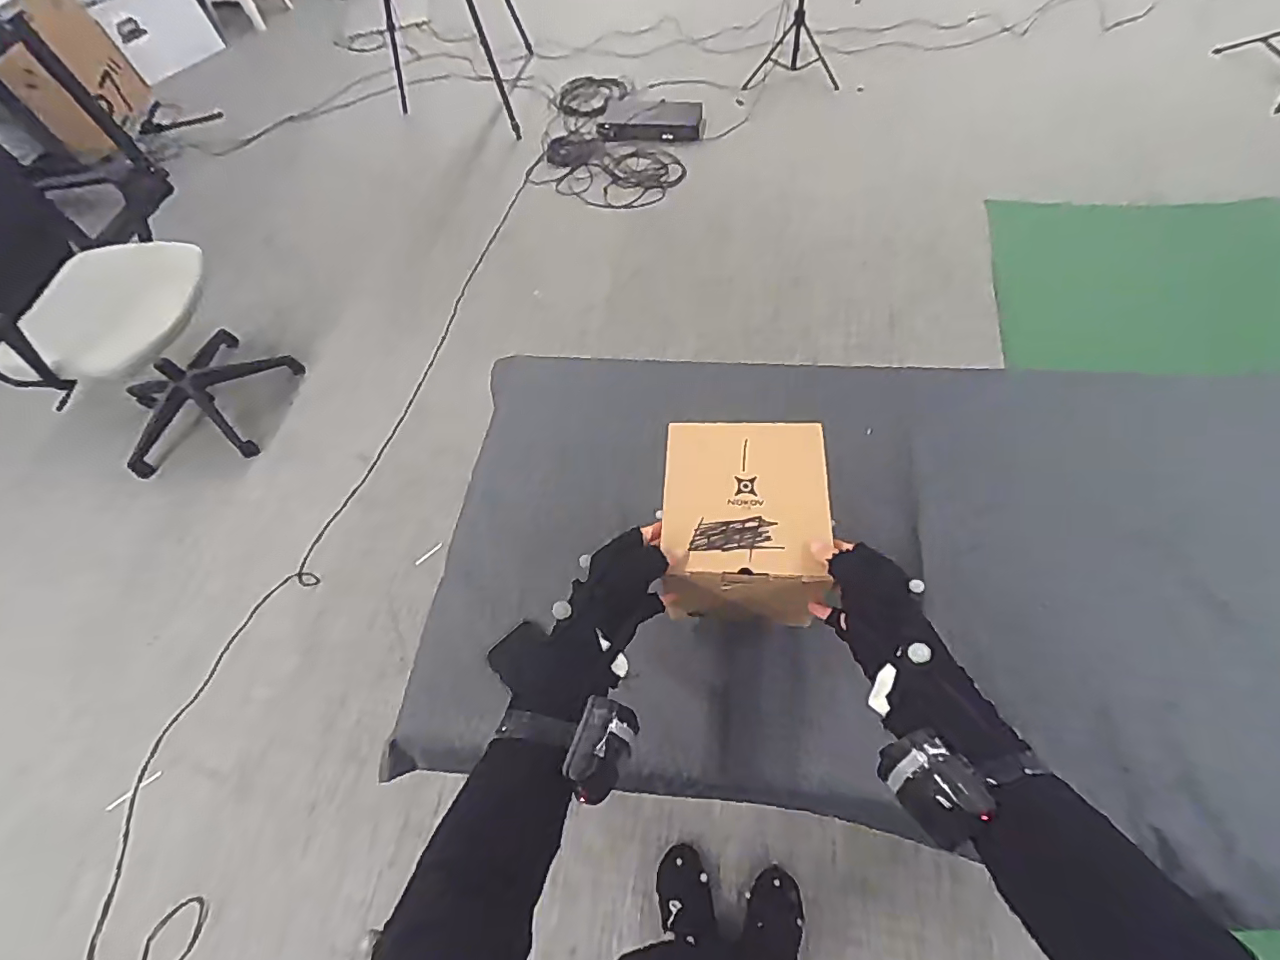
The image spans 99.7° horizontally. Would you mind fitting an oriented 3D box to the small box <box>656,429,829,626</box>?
[{"bbox_3d":[0.114,0.060,0.620,0.168,0.176,0.179,1,59,8],"label":"small box"}]
